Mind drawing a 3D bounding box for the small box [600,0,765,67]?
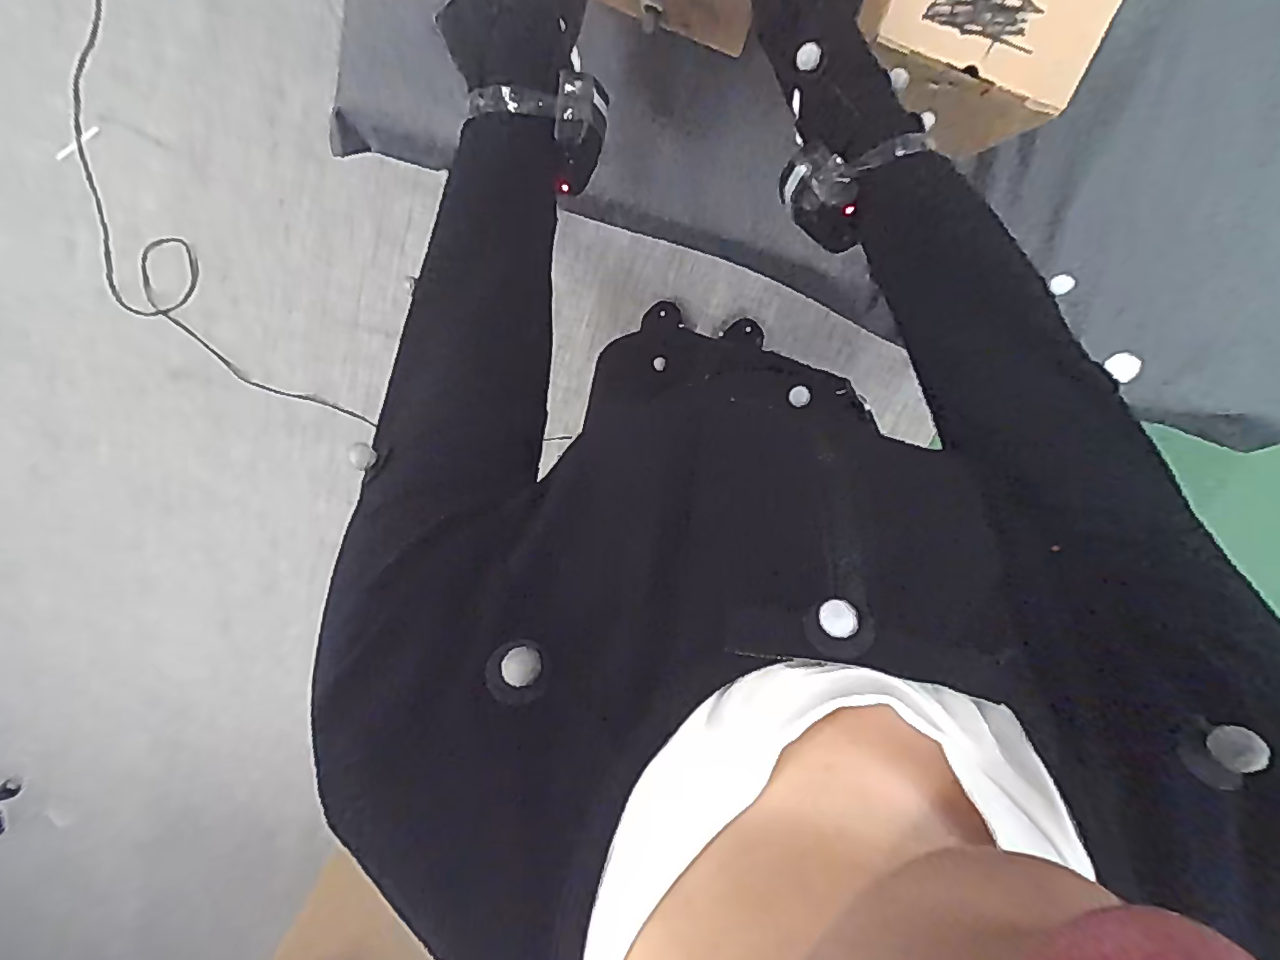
[{"bbox_3d":[0.051,-0.509,0.466,0.168,0.176,0.179,19,110,-2],"label":"small box"}]

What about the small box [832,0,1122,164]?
[{"bbox_3d":[0.293,-0.414,0.481,0.168,0.176,0.179,20,108,-3],"label":"small box"}]
